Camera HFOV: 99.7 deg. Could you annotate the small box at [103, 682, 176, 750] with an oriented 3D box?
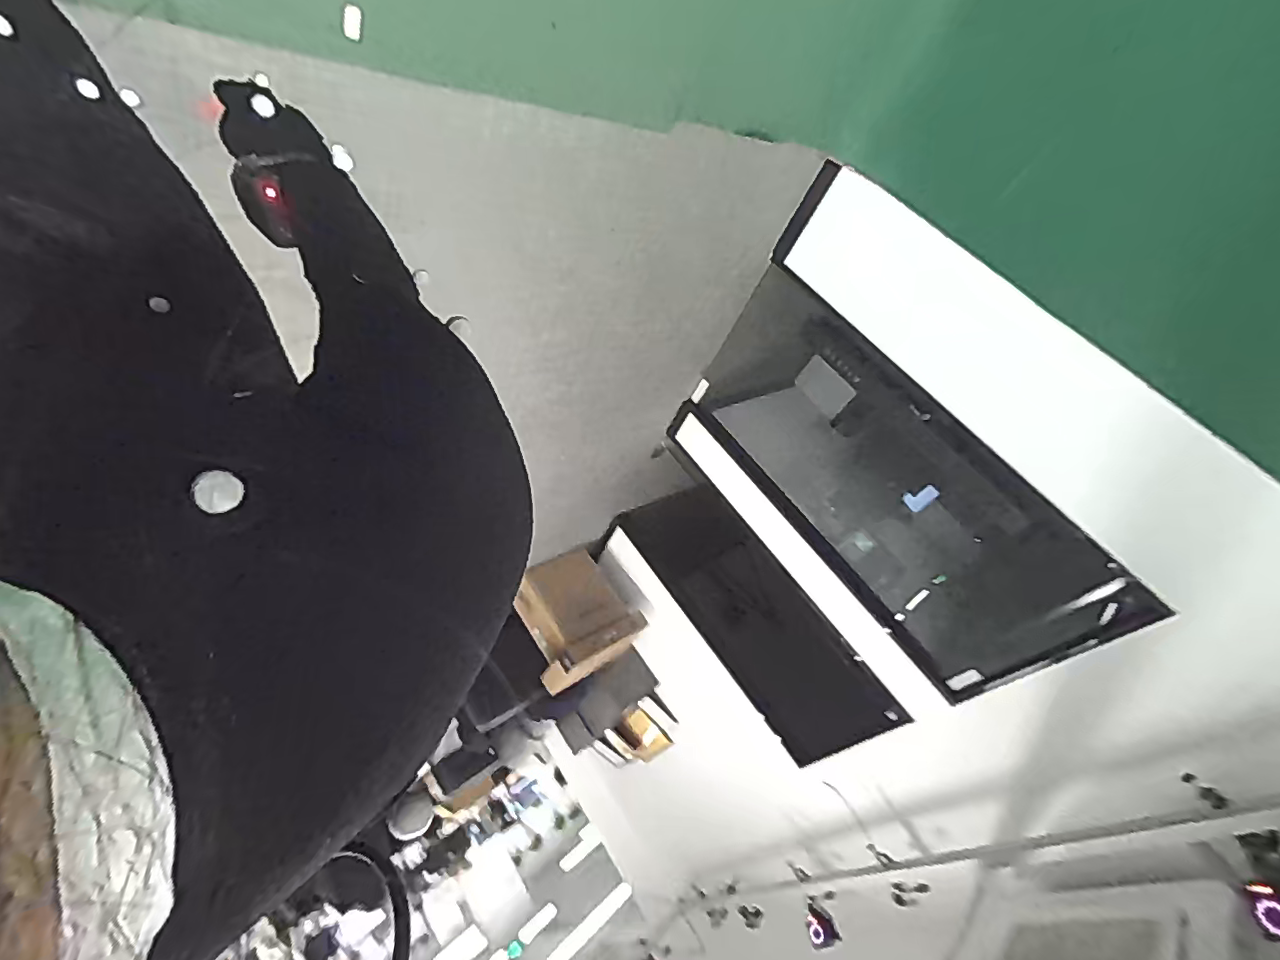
[{"bbox_3d":[-1.997,0.937,2.160,0.168,0.176,0.179,-22,155,-38],"label":"small box"}]
